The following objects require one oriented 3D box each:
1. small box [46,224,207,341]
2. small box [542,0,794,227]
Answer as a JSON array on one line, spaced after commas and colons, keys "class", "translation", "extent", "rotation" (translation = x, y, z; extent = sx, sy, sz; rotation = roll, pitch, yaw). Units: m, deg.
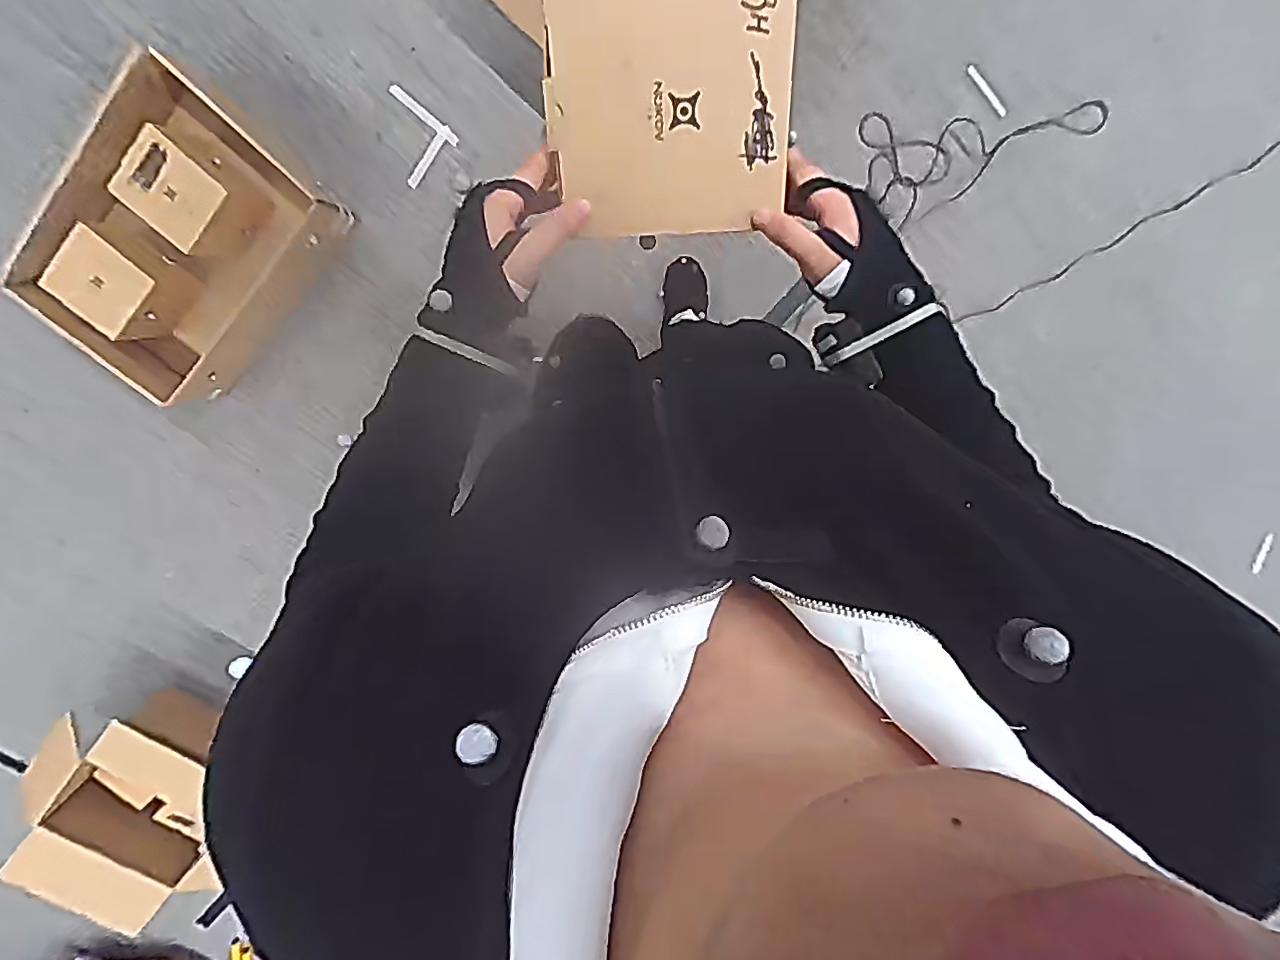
[{"class": "small box", "translation": [-1.135, -0.437, 1.214], "extent": [0.179, 0.176, 0.168], "rotation": [-44, 107, 11]}, {"class": "small box", "translation": [0.019, -0.313, 0.466], "extent": [0.179, 0.176, 0.168], "rotation": [-4, 115, -2]}]
